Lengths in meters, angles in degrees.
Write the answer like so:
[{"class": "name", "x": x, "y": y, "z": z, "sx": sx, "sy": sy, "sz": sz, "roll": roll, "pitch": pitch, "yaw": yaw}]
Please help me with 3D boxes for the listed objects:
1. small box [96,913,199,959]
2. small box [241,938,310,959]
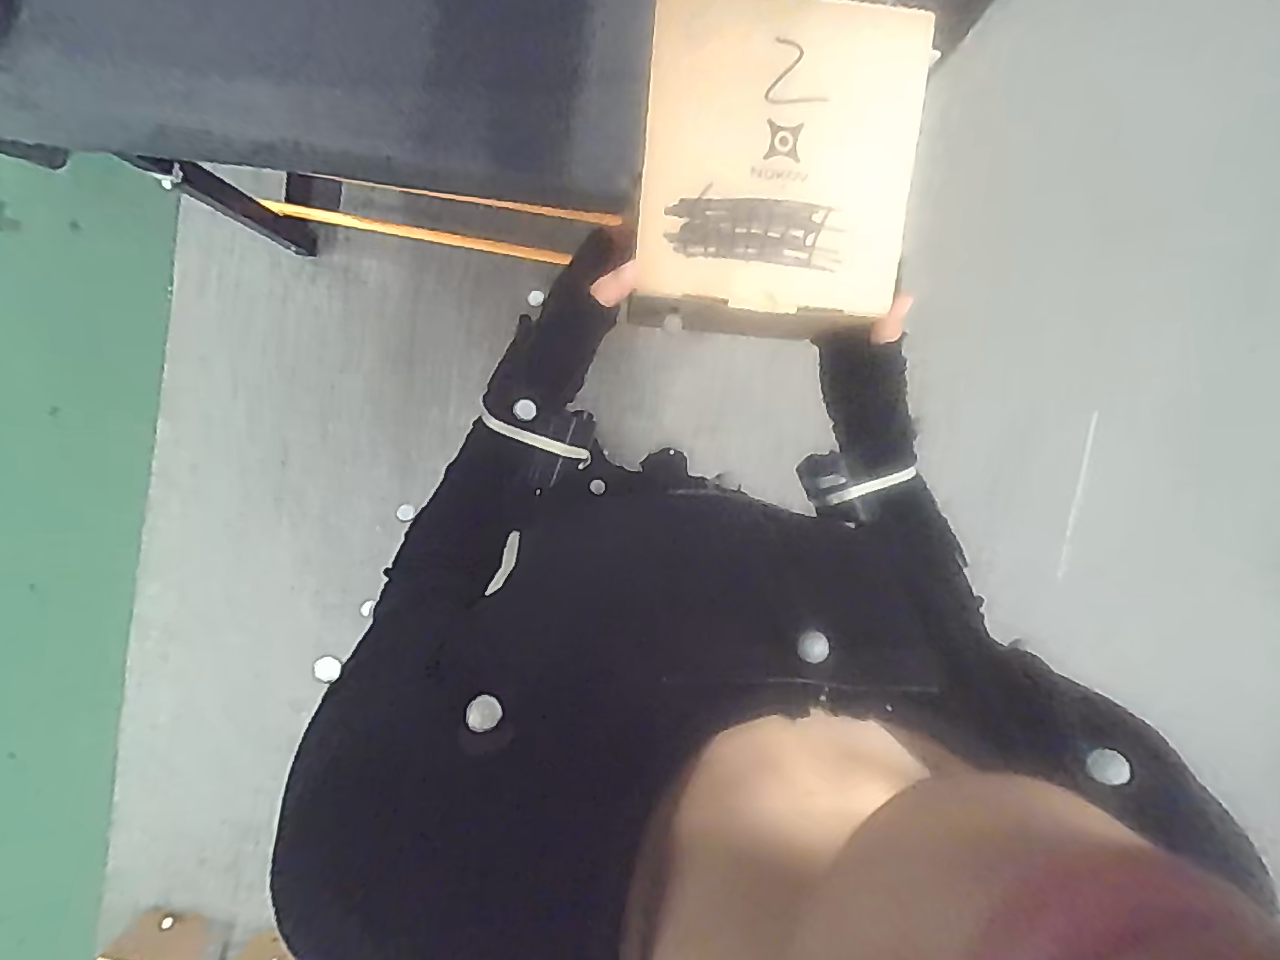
[{"class": "small box", "x": -1.356, "y": 1.345, "z": 1.474, "sx": 0.168, "sy": 0.176, "sz": 0.179, "roll": 14, "pitch": 92, "yaw": -1}, {"class": "small box", "x": -1.037, "y": 1.410, "z": 1.478, "sx": 0.168, "sy": 0.176, "sz": 0.179, "roll": 10, "pitch": 94, "yaw": 0}]
